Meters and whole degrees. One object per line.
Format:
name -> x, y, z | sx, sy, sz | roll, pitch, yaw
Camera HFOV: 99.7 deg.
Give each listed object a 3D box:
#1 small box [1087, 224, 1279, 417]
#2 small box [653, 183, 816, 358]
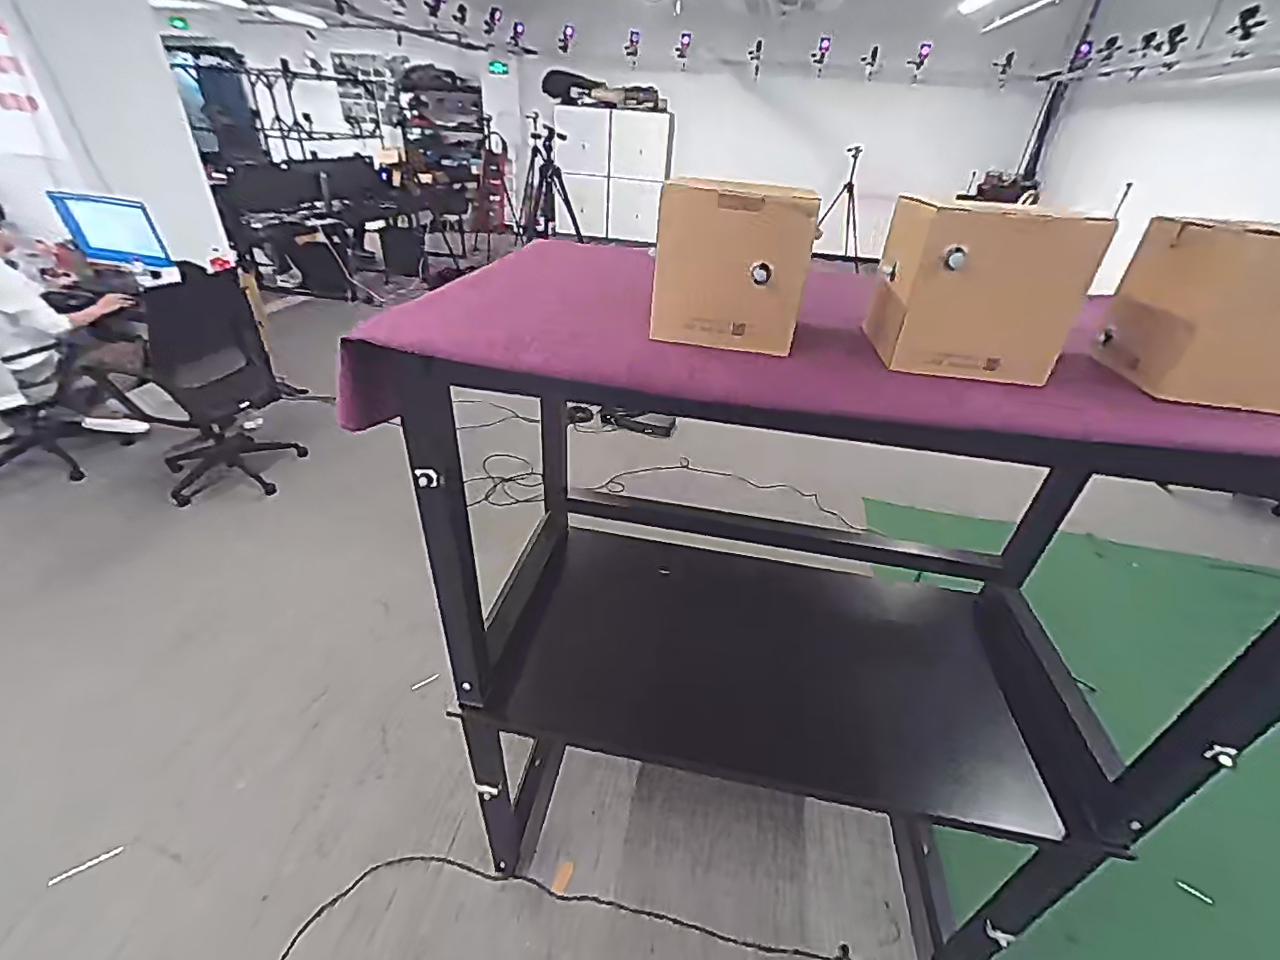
small box -> 0.656, -0.182, 0.608 | 0.179, 0.176, 0.168 | 9, 32, 7
small box -> 0.113, -0.263, 0.672 | 0.168, 0.176, 0.179 | 10, 32, 8
